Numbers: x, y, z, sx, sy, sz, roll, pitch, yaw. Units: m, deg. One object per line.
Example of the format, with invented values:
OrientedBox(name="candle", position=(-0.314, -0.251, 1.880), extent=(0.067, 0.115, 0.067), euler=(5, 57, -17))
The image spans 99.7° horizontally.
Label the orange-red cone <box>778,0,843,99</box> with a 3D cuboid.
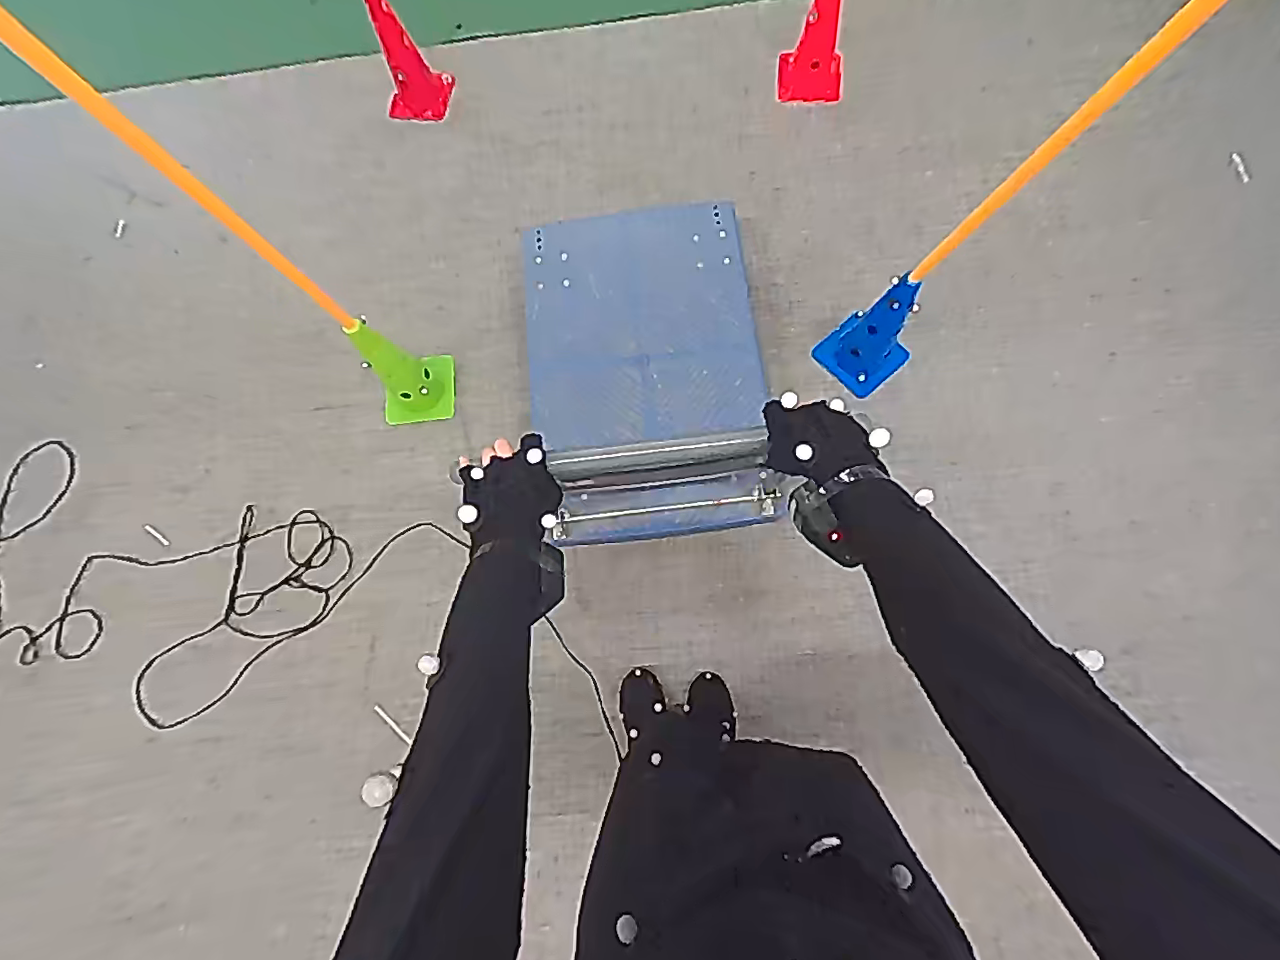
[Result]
OrientedBox(name="orange-red cone", position=(0.530, -1.337, 1.565), extent=(0.198, 0.360, 0.199), euler=(5, 77, 7))
